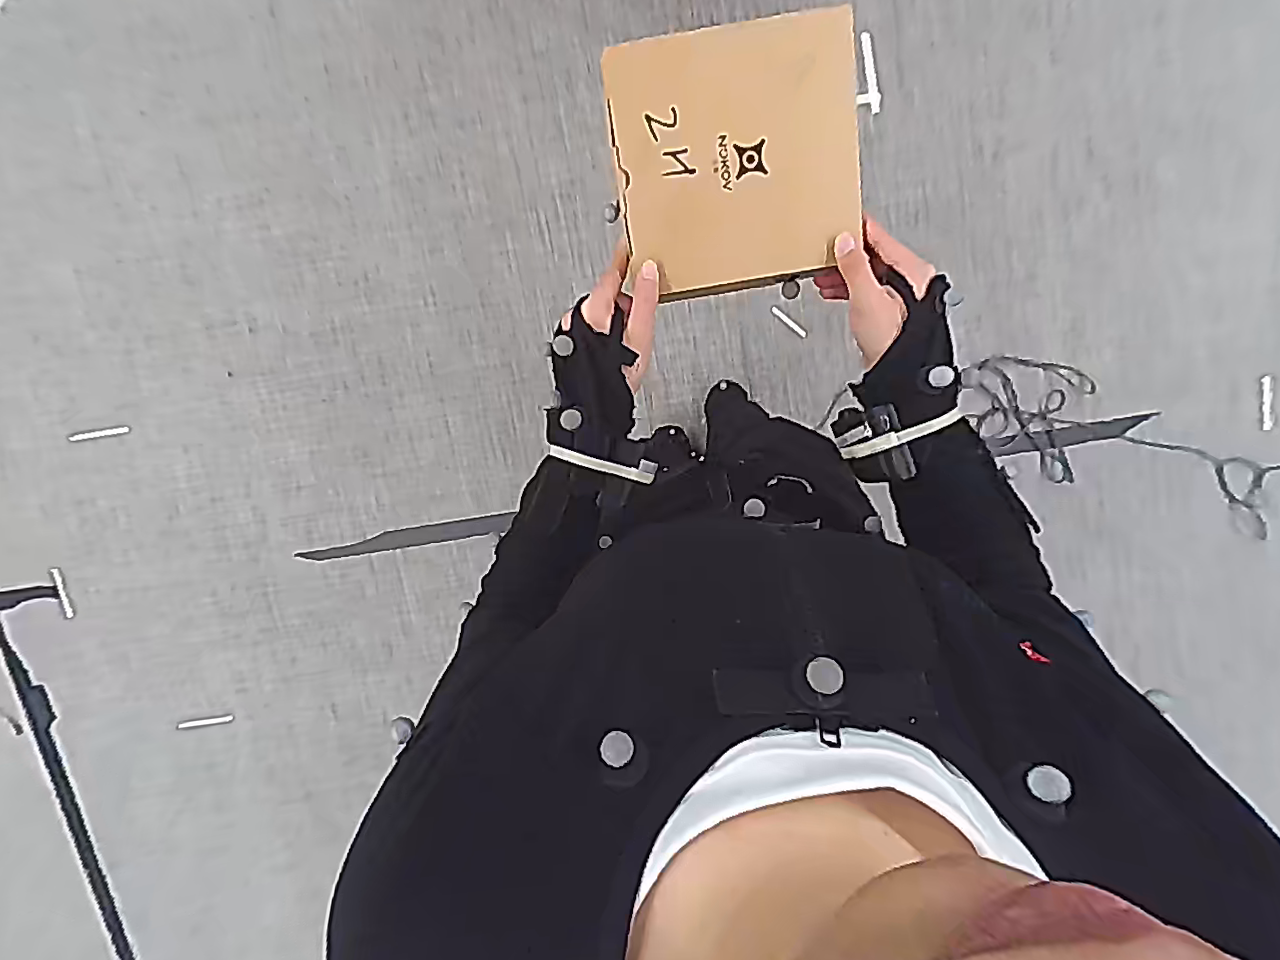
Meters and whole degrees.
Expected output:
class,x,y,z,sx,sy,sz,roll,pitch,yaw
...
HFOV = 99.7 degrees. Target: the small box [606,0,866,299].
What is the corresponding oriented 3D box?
class,x,y,z,sx,sy,sz,roll,pitch,yaw
small box,0.070,-0.254,0.461,0.179,0.176,0.168,-9,105,1
